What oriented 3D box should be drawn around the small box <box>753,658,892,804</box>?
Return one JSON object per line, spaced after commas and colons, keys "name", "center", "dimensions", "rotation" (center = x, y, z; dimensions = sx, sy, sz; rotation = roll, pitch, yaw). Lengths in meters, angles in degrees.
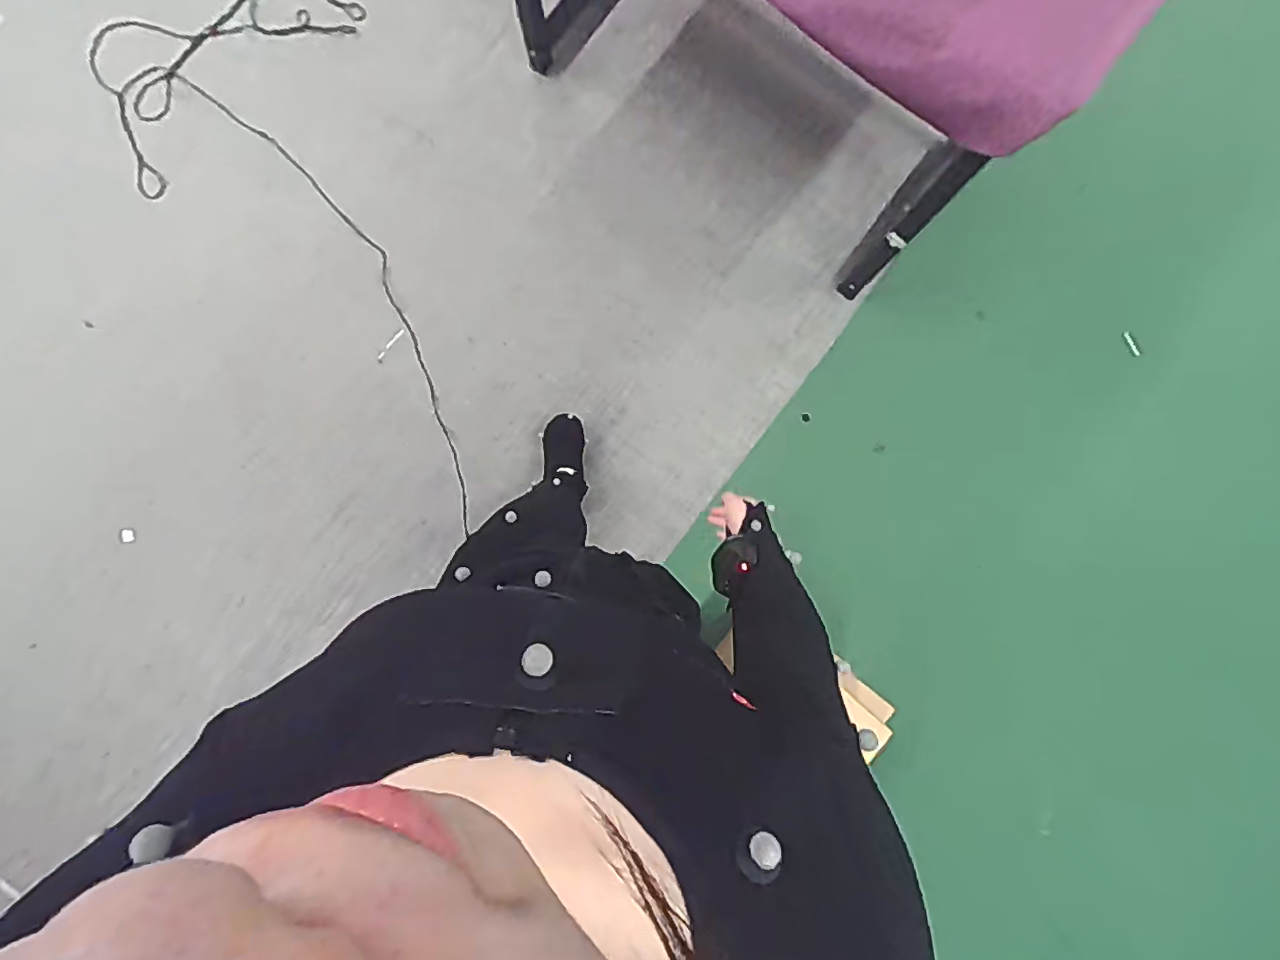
{"name": "small box", "center": [0.352, 0.487, 1.081], "dimensions": [0.179, 0.176, 0.168], "rotation": [41, 88, 3]}
